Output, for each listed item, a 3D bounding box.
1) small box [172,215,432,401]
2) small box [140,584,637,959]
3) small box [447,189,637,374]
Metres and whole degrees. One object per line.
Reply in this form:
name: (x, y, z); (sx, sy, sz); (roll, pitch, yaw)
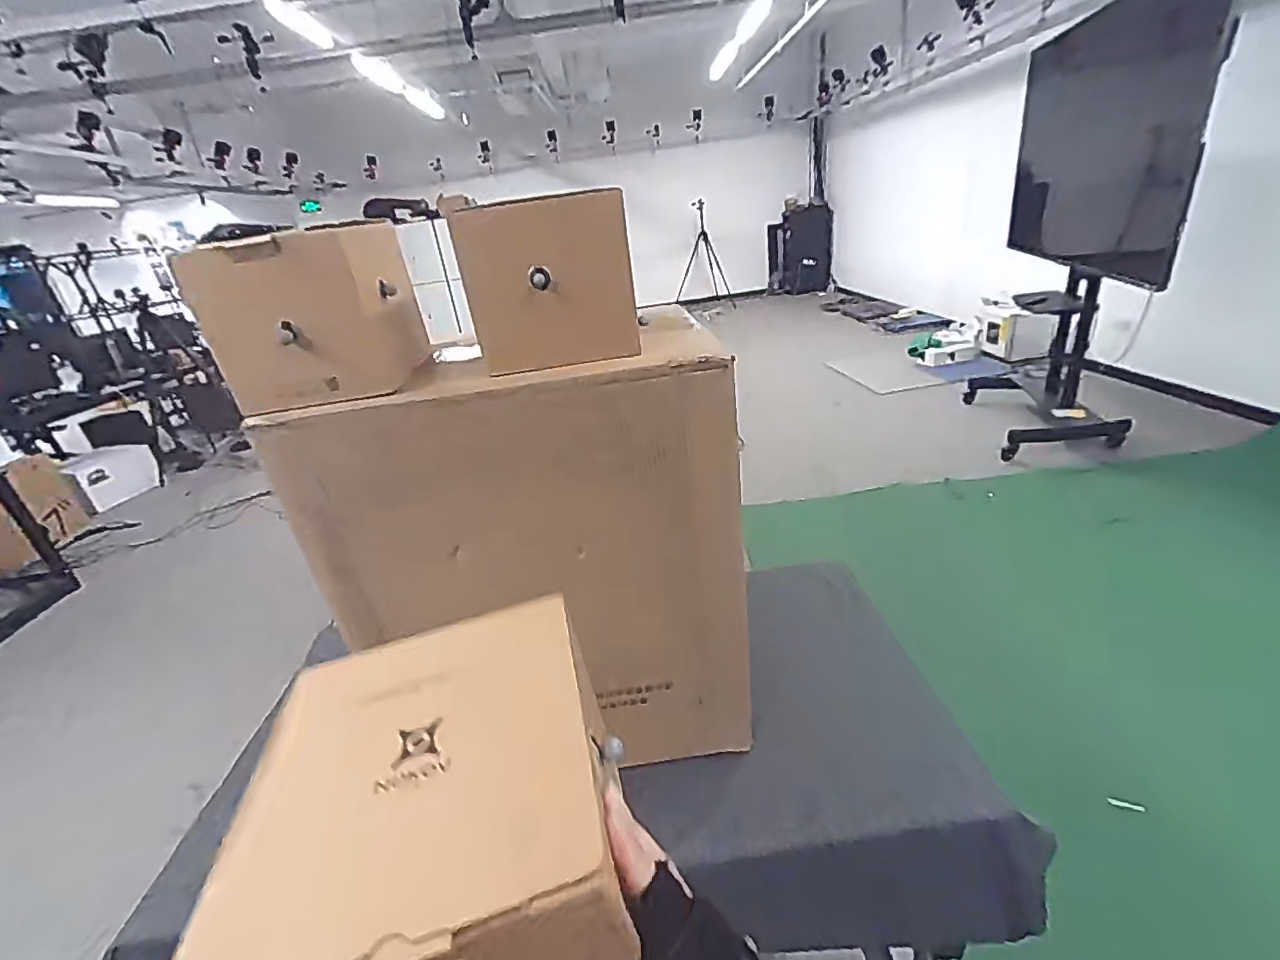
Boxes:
small box: (-0.359, -0.196, 0.621); (0.168, 0.176, 0.179); (-8, 29, -1)
small box: (-0.105, 0.194, 0.306); (0.168, 0.176, 0.179); (-14, 27, -7)
small box: (-0.098, -0.234, 0.629); (0.179, 0.176, 0.168); (-8, 28, 0)
